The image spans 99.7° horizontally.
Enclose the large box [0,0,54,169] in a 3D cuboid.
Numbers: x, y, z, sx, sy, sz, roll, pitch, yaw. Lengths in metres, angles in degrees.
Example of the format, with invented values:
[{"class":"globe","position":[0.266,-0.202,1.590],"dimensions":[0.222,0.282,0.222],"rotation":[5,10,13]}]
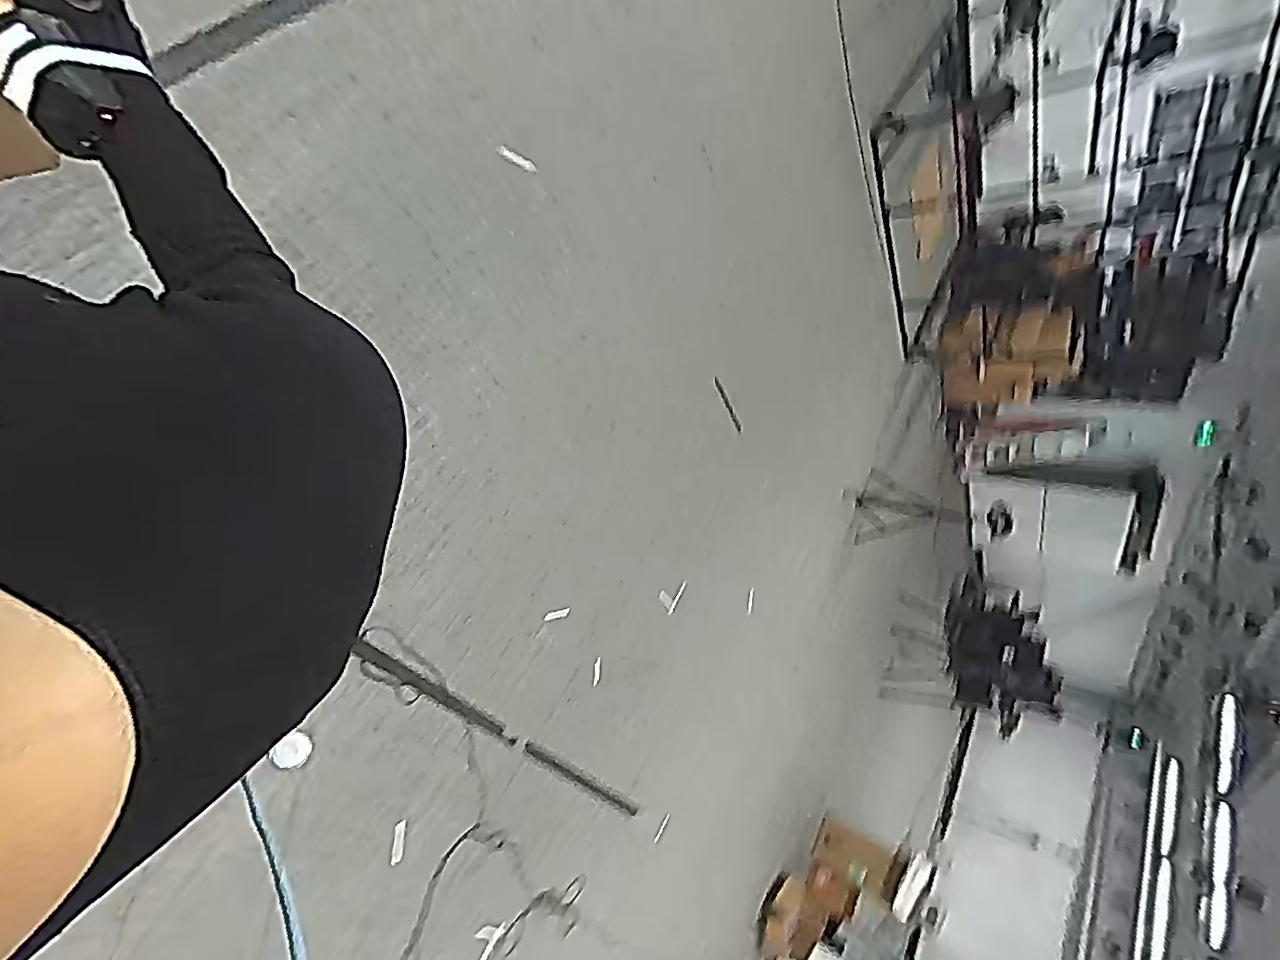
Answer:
[{"class":"large box","position":[-0.683,-0.340,0.296],"dimensions":[0.408,0.320,0.320],"rotation":[-41,126,-34]}]
